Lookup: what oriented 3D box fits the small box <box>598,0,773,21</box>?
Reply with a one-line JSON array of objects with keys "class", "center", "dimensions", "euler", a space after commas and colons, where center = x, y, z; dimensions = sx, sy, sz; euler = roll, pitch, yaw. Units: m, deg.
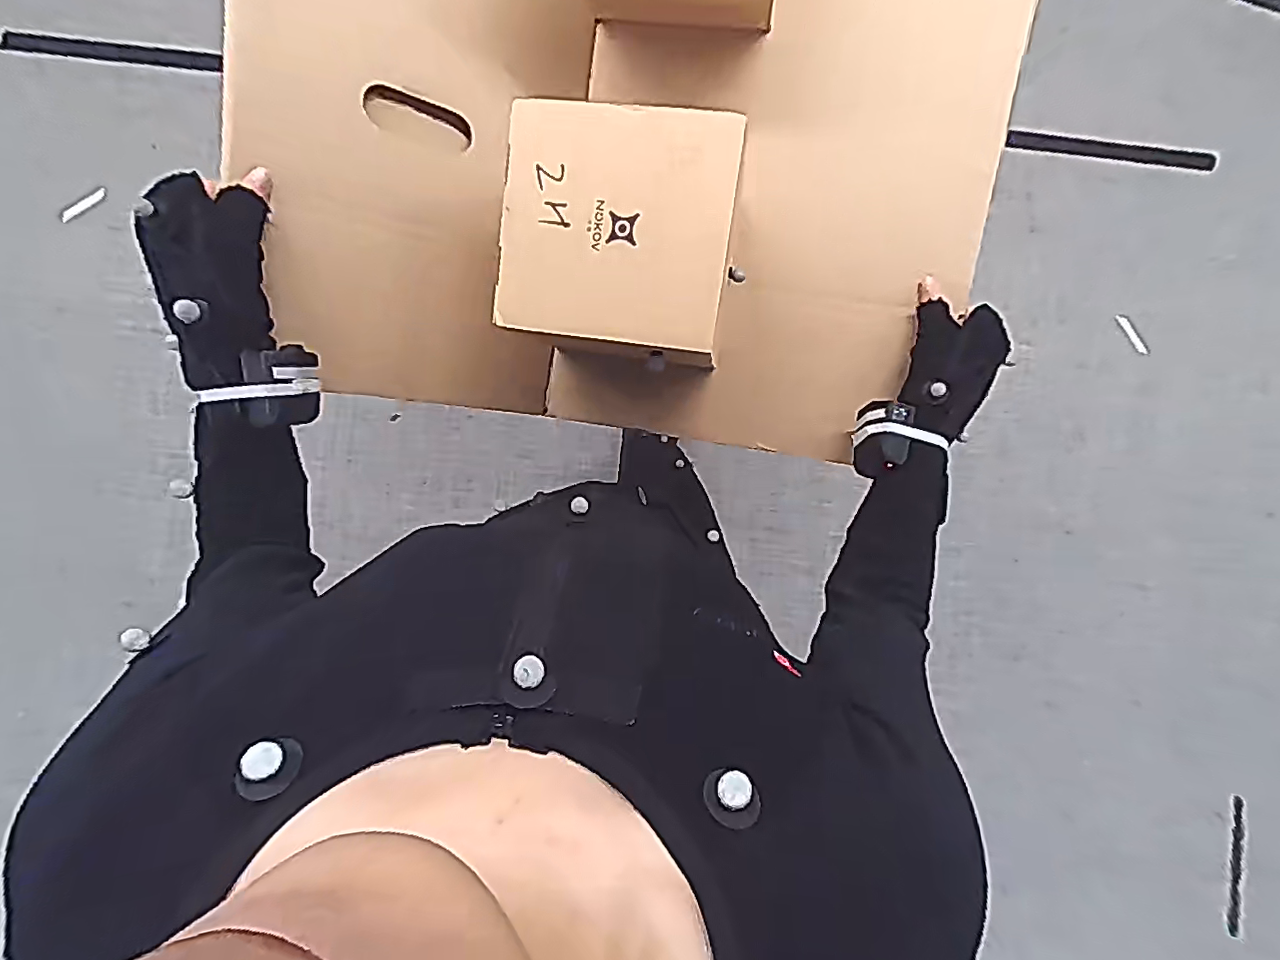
[{"class": "small box", "center": [0.039, -0.519, 0.437], "dimensions": [0.179, 0.176, 0.168], "euler": [10, 99, 7]}]

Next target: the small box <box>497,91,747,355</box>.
[{"class": "small box", "center": [-0.007, -0.210, 0.488], "dimensions": [0.179, 0.176, 0.168], "euler": [10, 99, 8]}]
